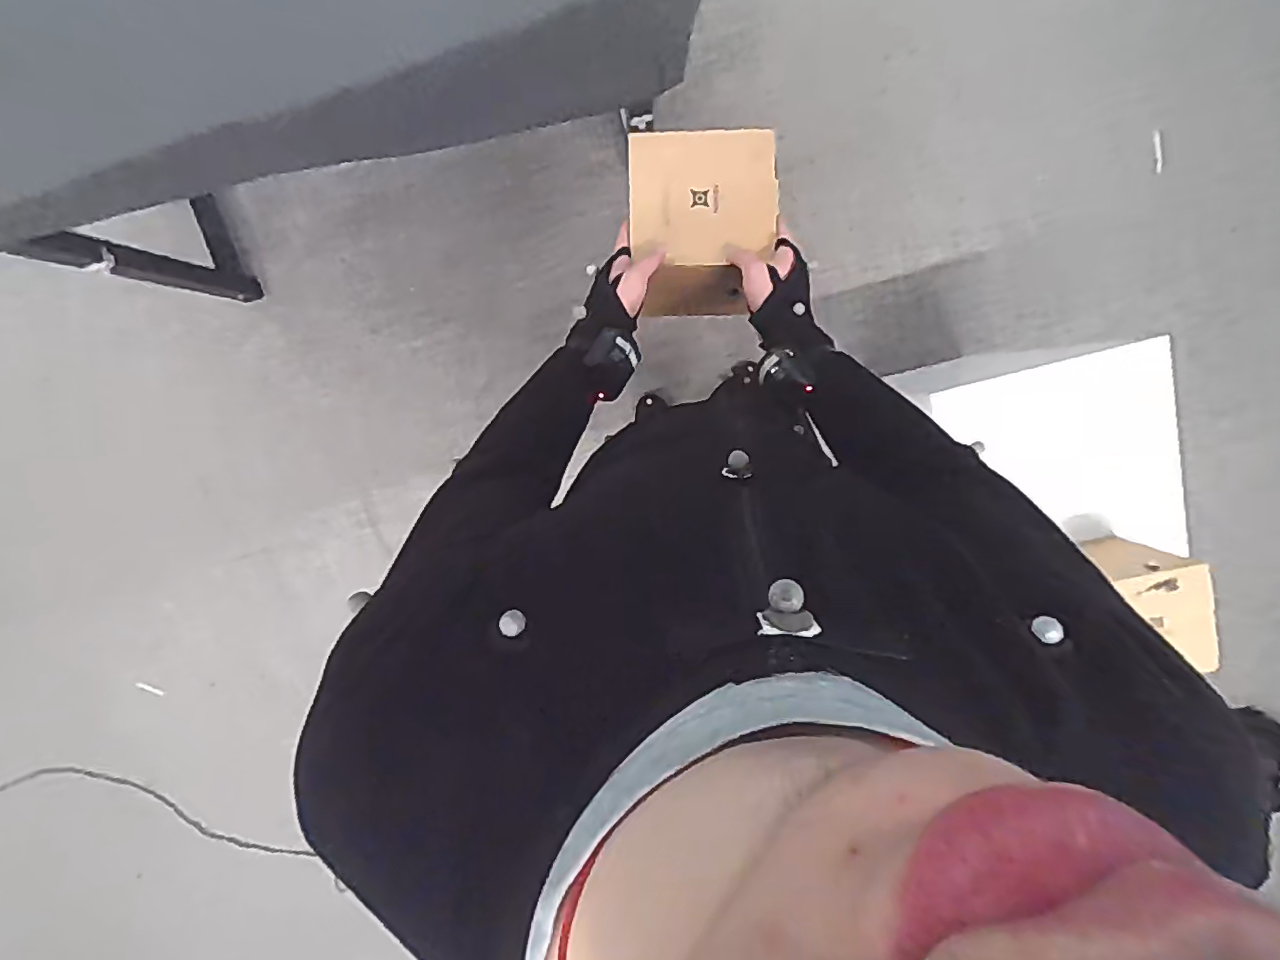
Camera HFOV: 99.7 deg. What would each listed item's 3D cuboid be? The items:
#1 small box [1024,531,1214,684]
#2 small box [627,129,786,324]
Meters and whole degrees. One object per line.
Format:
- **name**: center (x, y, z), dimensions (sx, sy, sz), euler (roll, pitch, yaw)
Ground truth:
- **small box**: center (0.783, 0.203, 0.899), dimensions (0.168, 0.176, 0.179), euler (-14, 99, 1)
- **small box**: center (0.076, -0.311, 0.694), dimensions (0.179, 0.176, 0.168), euler (-3, 86, 1)
